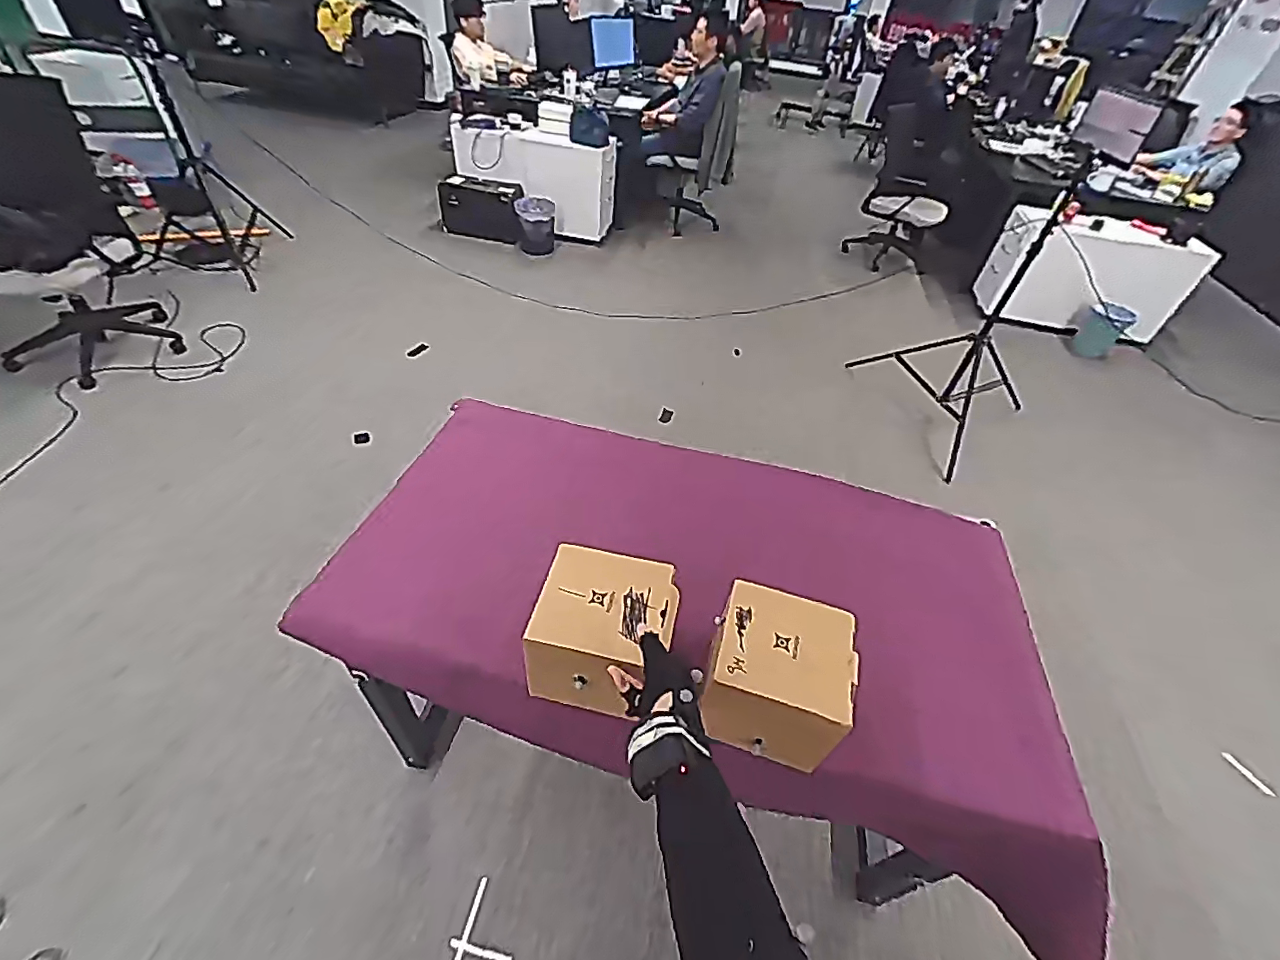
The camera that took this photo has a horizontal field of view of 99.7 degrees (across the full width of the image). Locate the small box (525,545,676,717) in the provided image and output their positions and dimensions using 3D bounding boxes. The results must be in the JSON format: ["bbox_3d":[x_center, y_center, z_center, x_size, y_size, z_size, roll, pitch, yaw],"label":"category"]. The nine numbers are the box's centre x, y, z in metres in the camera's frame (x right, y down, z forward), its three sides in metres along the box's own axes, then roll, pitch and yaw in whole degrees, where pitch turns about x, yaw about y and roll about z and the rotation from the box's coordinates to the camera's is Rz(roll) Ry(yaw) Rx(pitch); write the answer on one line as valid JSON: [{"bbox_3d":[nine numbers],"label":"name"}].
[{"bbox_3d":[-0.053,0.225,0.797,0.179,0.176,0.168,11,43,6],"label":"small box"}]

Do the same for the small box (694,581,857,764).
[{"bbox_3d":[0.191,0.279,0.775,0.179,0.176,0.168,16,44,9],"label":"small box"}]
